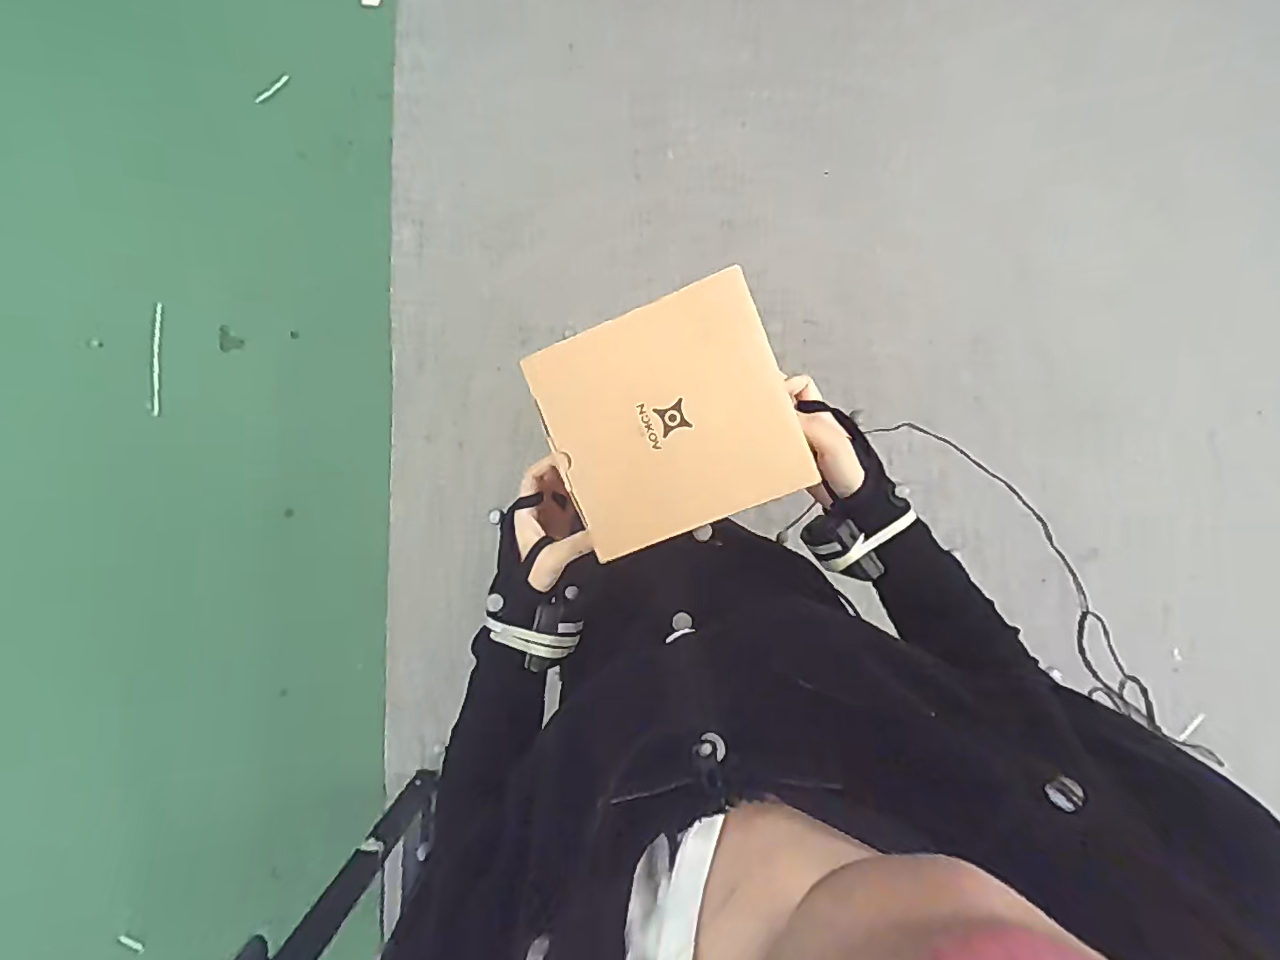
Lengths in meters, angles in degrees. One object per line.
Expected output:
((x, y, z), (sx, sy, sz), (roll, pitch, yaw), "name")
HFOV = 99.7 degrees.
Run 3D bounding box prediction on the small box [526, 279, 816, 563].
((0.030, -0.048, 0.479), (0.179, 0.176, 0.168), (-21, 92, 9), "small box")
